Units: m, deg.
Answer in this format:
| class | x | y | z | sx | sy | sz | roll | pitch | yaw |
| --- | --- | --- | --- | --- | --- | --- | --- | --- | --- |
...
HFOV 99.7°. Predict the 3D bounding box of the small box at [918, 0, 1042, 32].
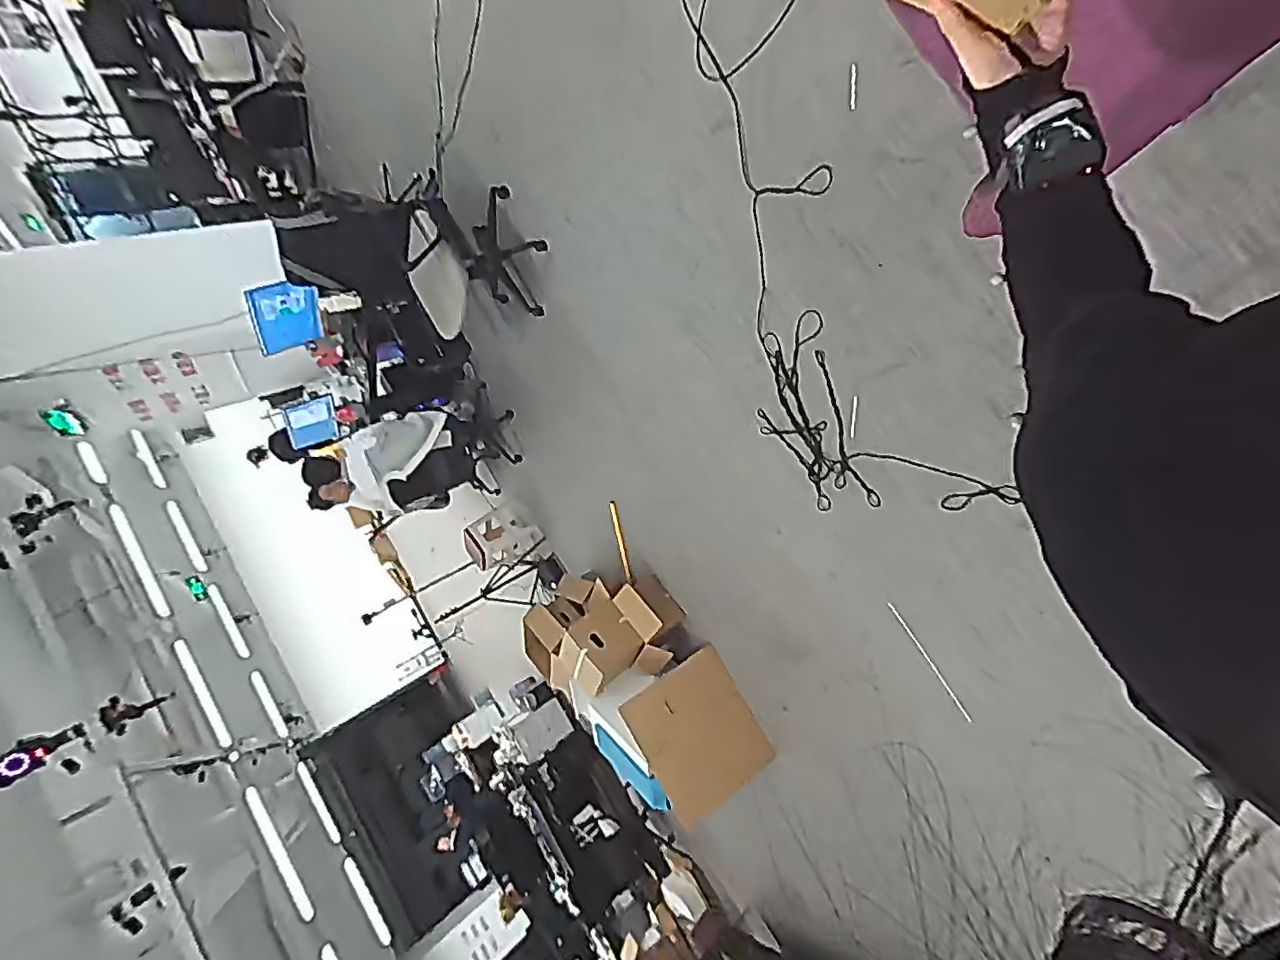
| class | x | y | z | sx | sy | sz | roll | pitch | yaw |
| --- | --- | --- | --- | --- | --- | --- | --- | --- | --- |
| small box | 0.225 | -0.428 | 0.336 | 0.179 | 0.168 | 0.176 | 29 | 124 | 6 |
